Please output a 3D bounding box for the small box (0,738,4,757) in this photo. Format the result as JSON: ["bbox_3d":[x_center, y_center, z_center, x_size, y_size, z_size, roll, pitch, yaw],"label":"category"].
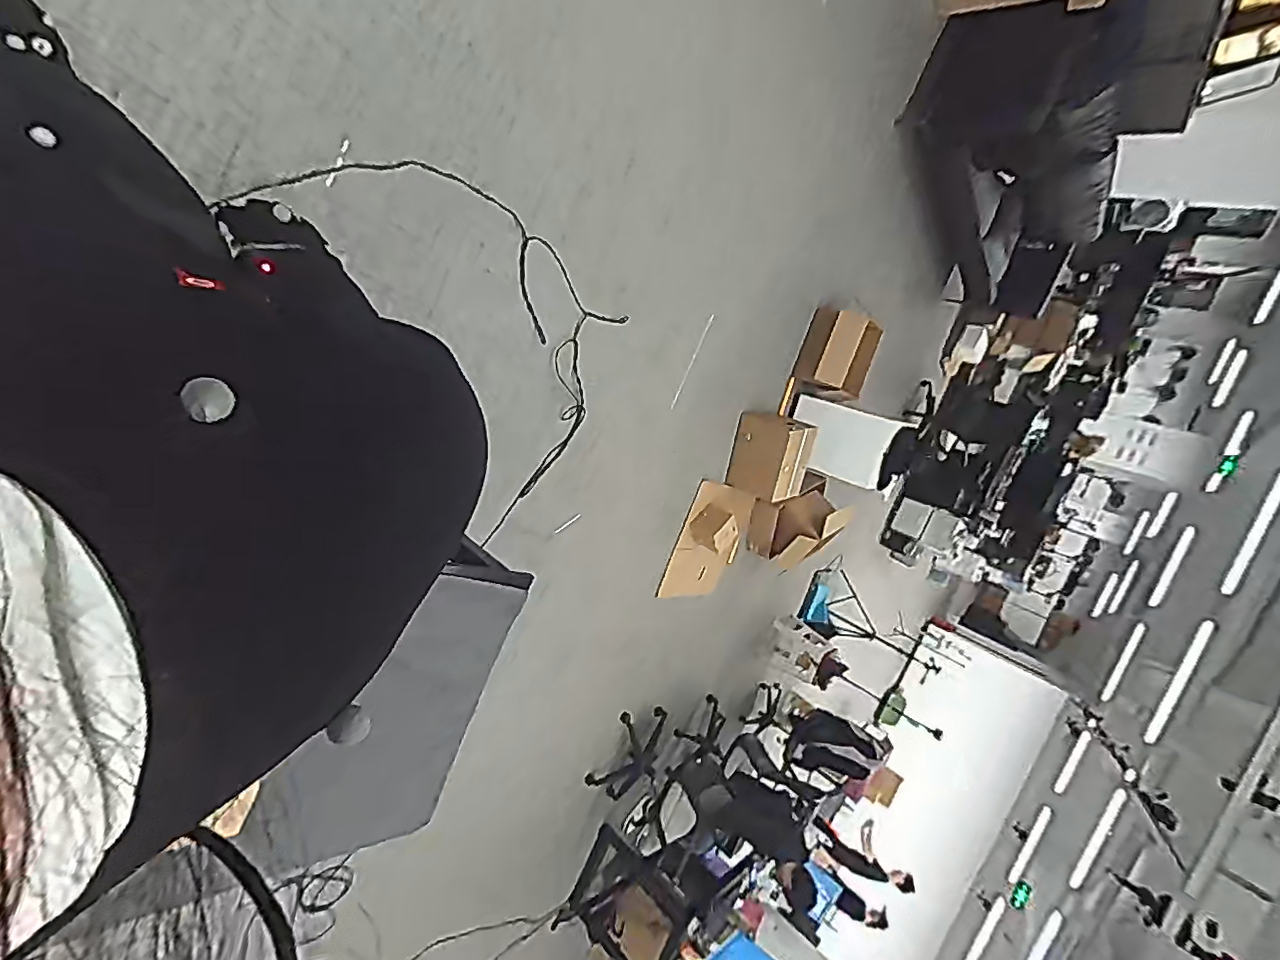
[{"bbox_3d":[-0.694,0.258,0.460,0.168,0.176,0.179,20,95,-55],"label":"small box"}]

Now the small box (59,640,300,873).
[{"bbox_3d":[-0.558,0.311,0.654,0.168,0.176,0.179,24,93,-53],"label":"small box"}]
